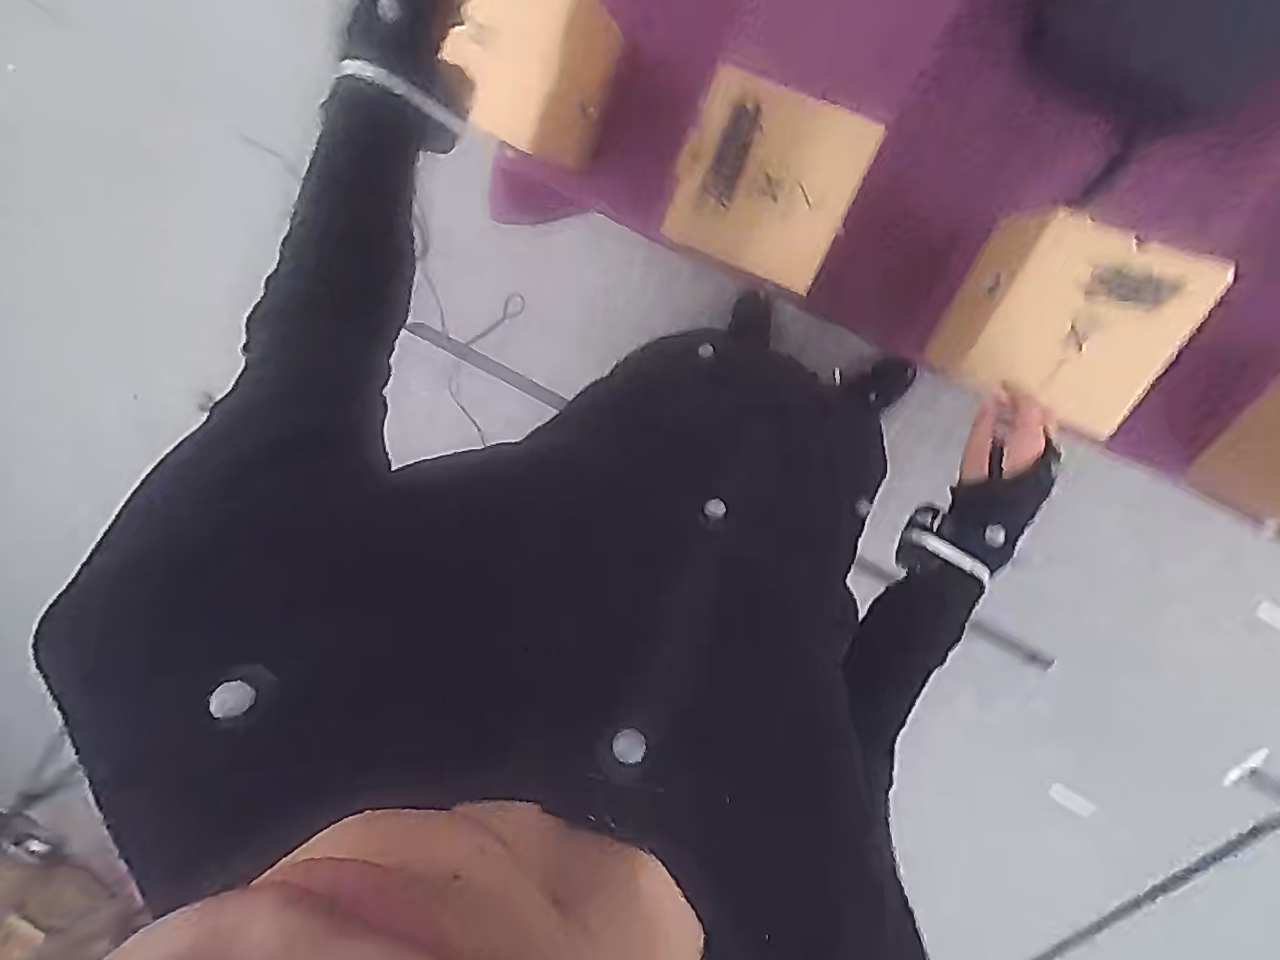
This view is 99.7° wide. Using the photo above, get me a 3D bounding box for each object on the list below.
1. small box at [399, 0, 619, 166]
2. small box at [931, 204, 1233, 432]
[{"bbox_3d":[-0.148,-0.500,0.646,0.179,0.176,0.168,26,116,3],"label":"small box"},{"bbox_3d":[0.457,-0.183,0.603,0.168,0.176,0.179,23,117,6],"label":"small box"}]
